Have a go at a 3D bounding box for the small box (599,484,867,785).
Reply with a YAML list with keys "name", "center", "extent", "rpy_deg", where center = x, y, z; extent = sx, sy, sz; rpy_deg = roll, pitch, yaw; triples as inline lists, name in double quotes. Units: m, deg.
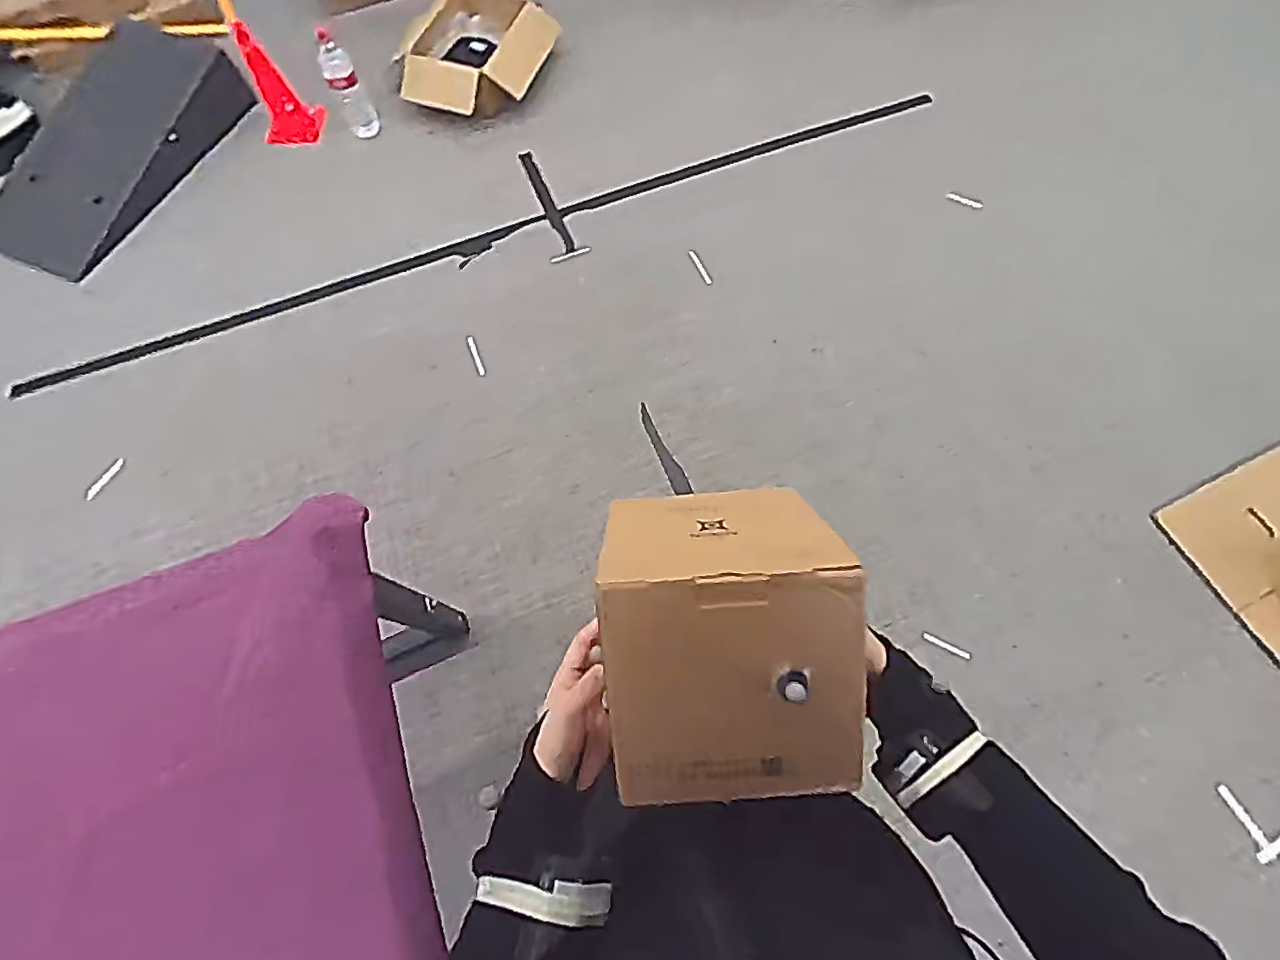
- name: "small box"
  center: [0.063, 0.111, 0.424]
  extent: [0.168, 0.179, 0.176]
  rpy_deg: [-3, 105, 1]
